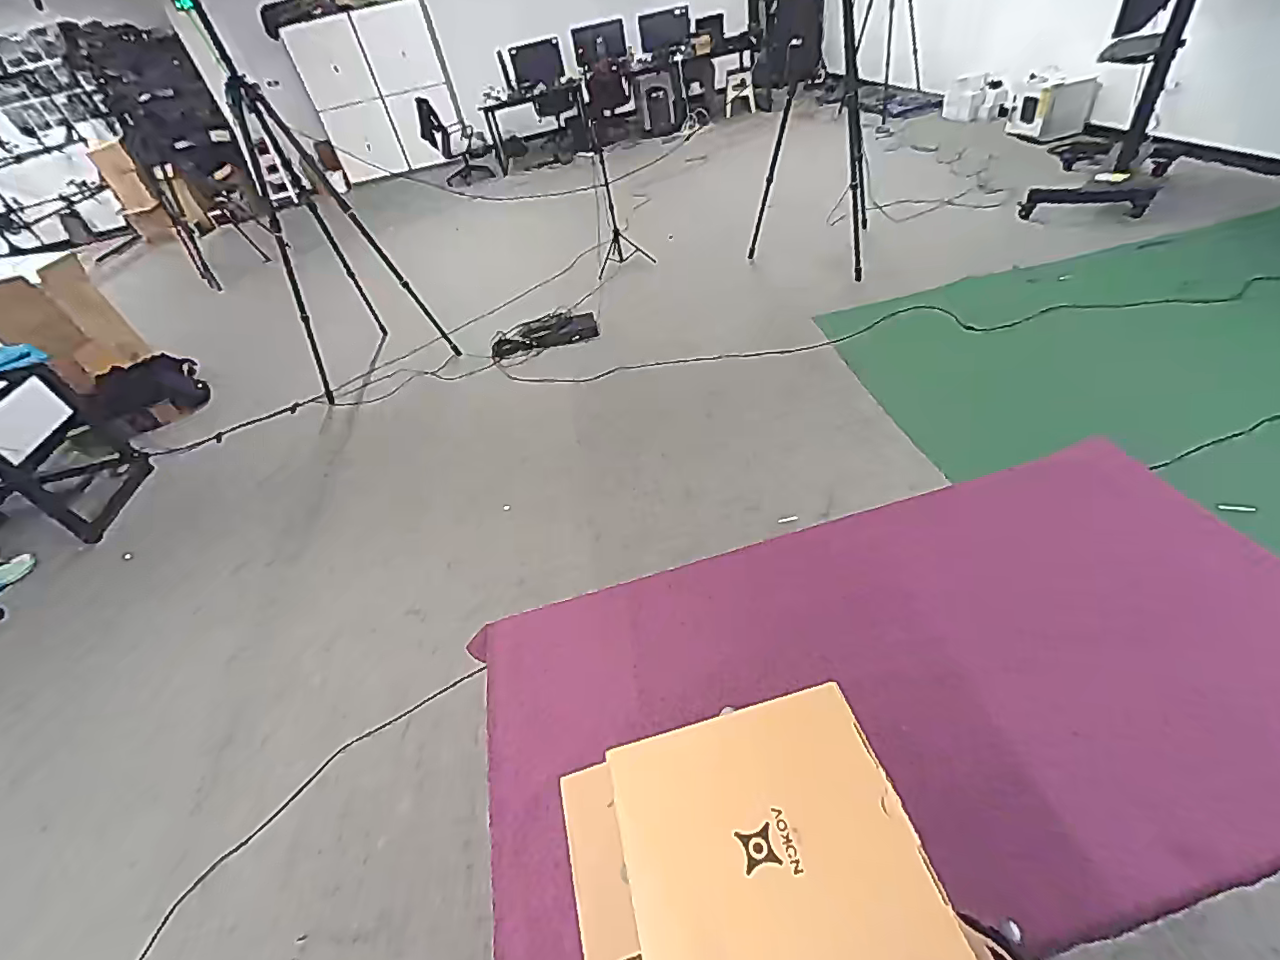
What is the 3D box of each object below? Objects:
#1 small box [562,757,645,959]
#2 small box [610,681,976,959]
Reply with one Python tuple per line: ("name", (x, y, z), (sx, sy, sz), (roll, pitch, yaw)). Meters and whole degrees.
("small box", (0.022, 0.421, 0.606), (0.168, 0.176, 0.179), (-16, 42, -5))
("small box", (0.091, 0.278, 0.390), (0.179, 0.176, 0.168), (-15, 45, -3))
